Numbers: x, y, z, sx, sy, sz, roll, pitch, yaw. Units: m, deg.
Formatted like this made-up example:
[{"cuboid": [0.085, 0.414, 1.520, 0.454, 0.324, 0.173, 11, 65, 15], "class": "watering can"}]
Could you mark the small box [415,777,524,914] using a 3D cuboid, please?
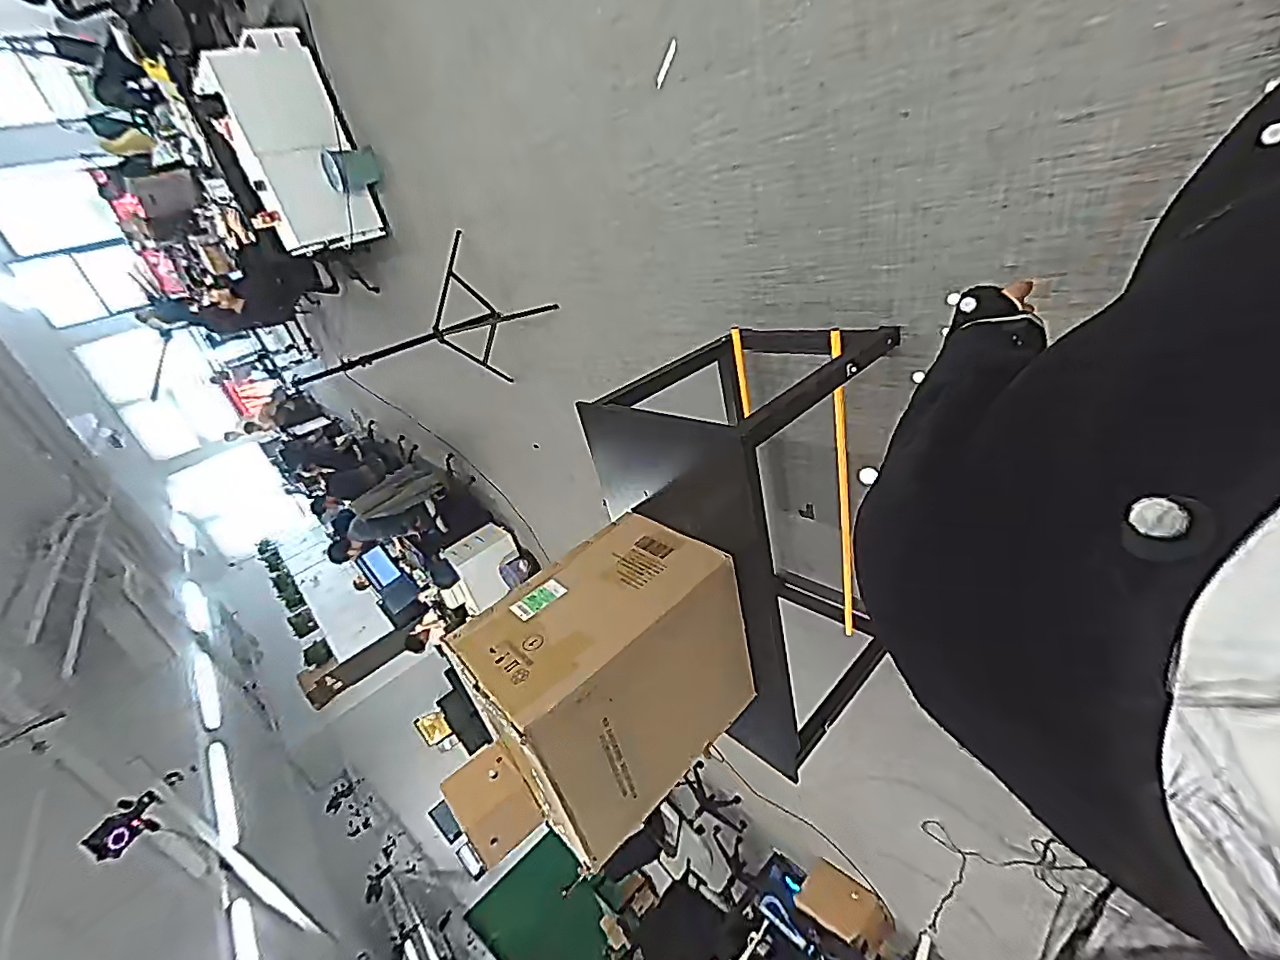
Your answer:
[{"cuboid": [-0.402, 0.868, 1.297, 0.168, 0.176, 0.179, 21, 133, 47], "class": "small box"}]
